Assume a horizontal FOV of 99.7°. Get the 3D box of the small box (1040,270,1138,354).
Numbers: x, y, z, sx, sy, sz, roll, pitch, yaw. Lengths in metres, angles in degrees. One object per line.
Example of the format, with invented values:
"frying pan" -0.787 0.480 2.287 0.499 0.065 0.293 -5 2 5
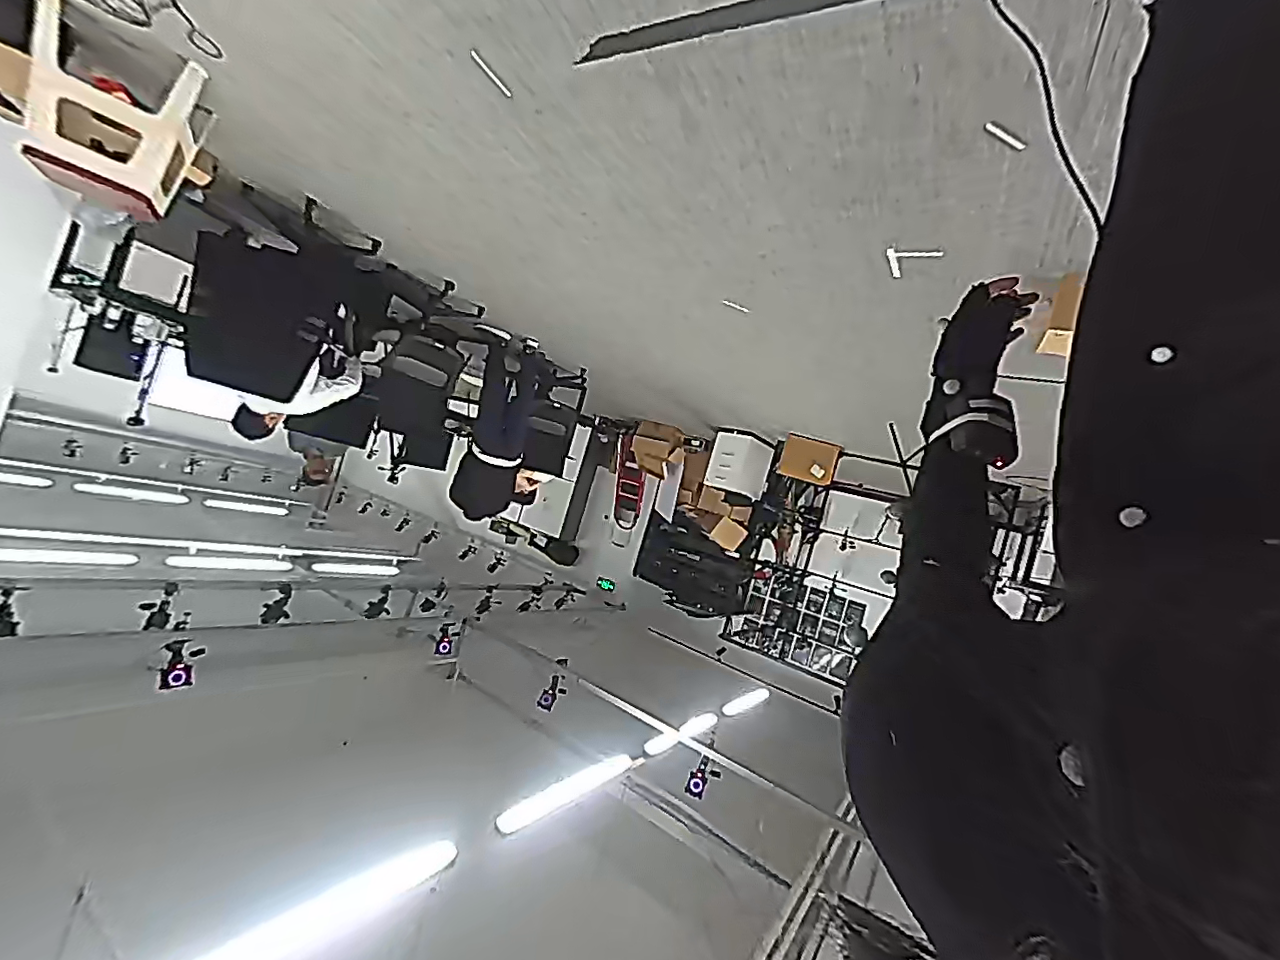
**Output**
"small box" 1.283 -0.480 1.550 0.168 0.176 0.179 16 178 28
